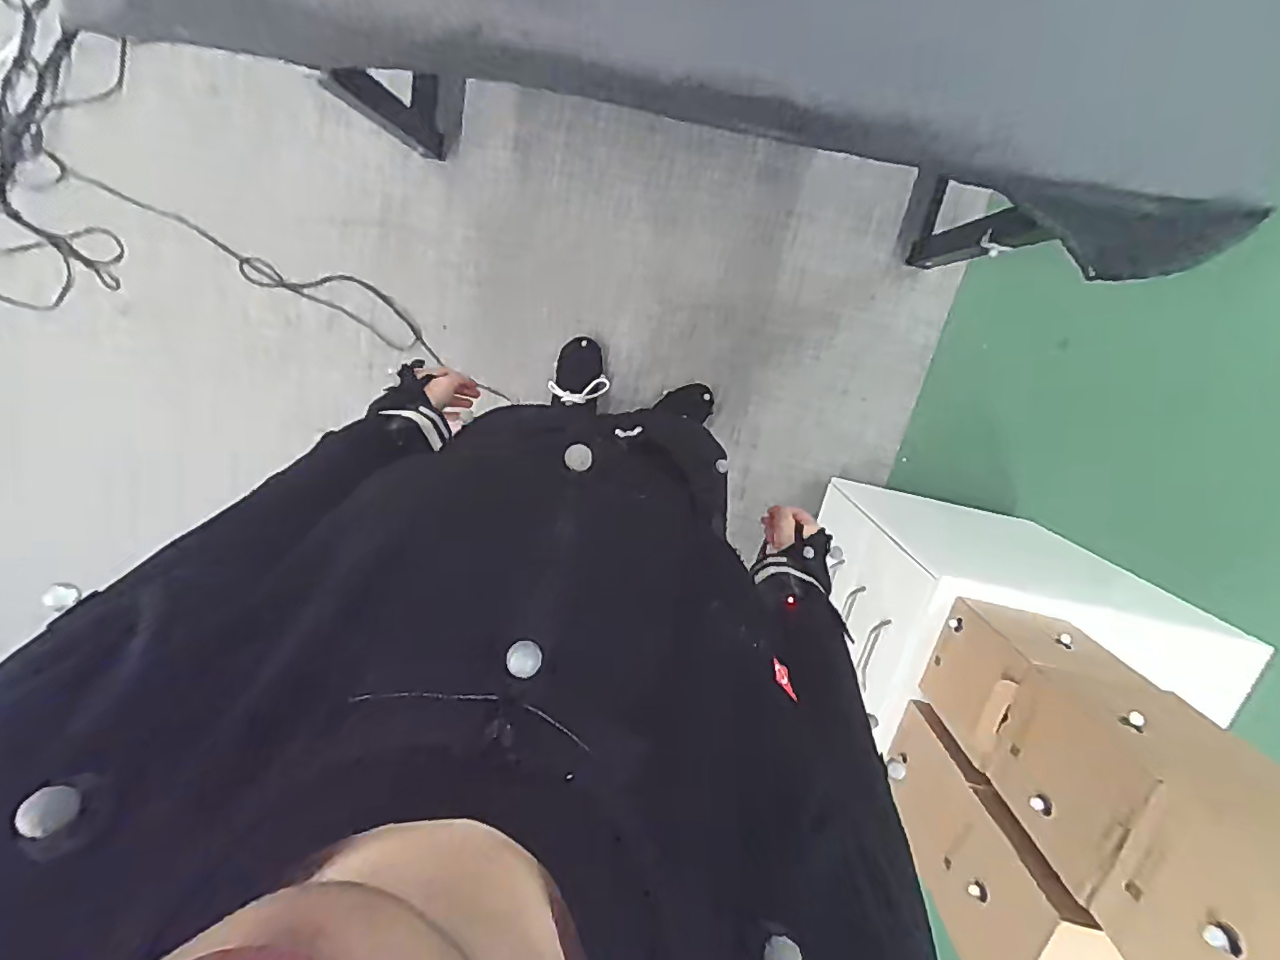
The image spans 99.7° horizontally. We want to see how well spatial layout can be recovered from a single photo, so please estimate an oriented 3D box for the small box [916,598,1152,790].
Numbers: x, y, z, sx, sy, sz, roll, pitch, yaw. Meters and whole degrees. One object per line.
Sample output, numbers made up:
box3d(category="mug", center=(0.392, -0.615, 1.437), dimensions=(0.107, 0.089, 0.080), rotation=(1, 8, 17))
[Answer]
box3d(category="small box", center=(0.523, 0.284, 0.751), dimensions=(0.179, 0.176, 0.168), rotation=(12, 107, -3))
